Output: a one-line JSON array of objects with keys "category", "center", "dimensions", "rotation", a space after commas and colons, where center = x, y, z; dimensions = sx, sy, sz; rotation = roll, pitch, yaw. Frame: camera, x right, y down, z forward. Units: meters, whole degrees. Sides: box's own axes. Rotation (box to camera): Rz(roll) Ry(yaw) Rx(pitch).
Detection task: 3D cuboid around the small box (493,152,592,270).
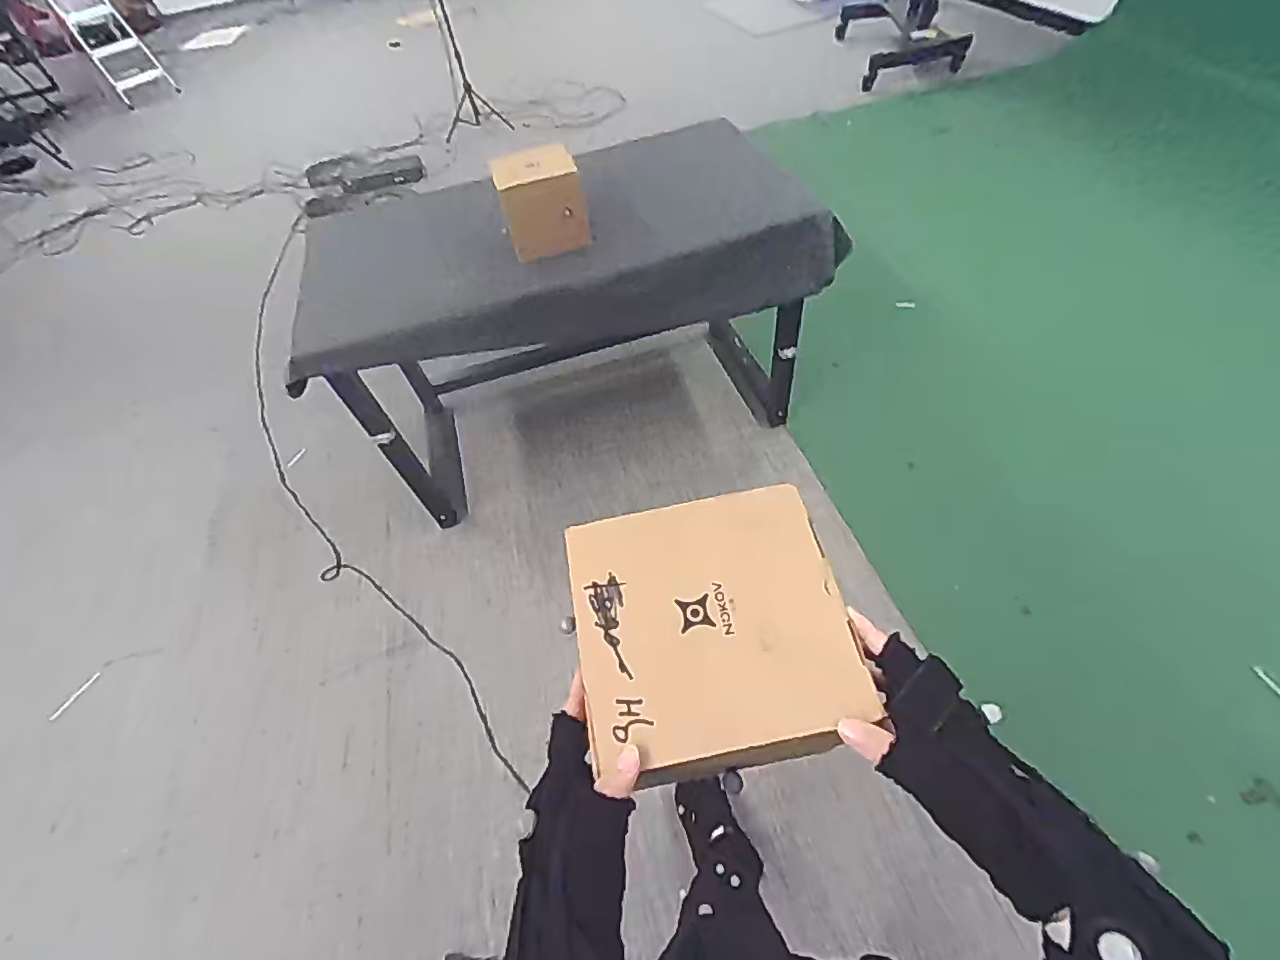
[{"category": "small box", "center": [-0.217, -0.612, 1.238], "dimensions": [0.179, 0.176, 0.168], "rotation": [-19, 51, -5]}]
